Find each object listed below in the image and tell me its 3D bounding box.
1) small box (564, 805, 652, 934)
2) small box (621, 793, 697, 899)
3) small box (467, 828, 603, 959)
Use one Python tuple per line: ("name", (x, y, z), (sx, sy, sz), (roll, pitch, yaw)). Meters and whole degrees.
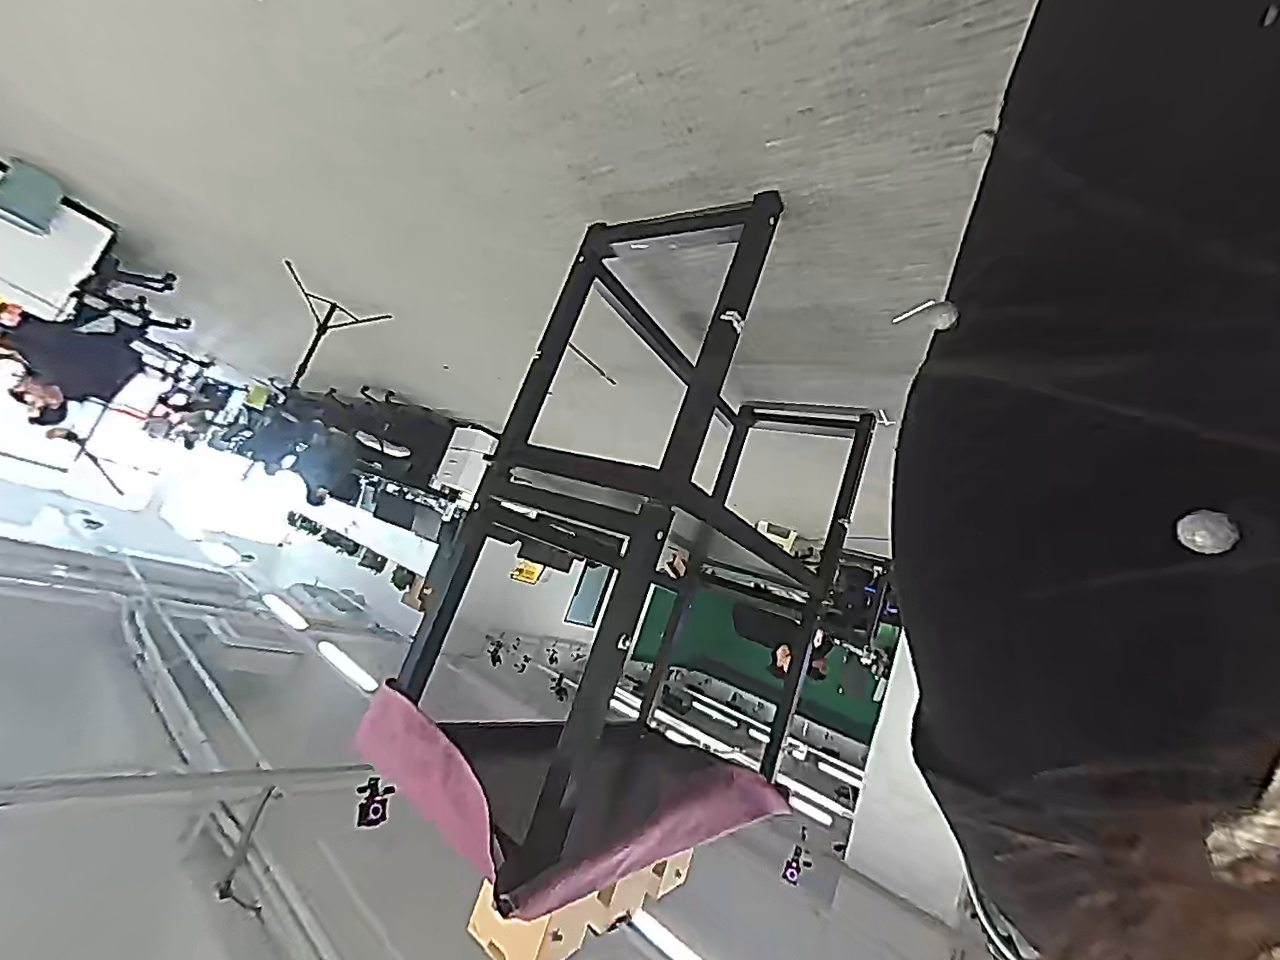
("small box", (-0.088, 0.917, 1.293), (0.179, 0.176, 0.168), (13, 168, 37))
("small box", (0.039, 1.001, 1.501), (0.168, 0.176, 0.179), (12, 168, 33))
("small box", (-0.204, 0.837, 1.085), (0.168, 0.176, 0.179), (14, 169, 33))
